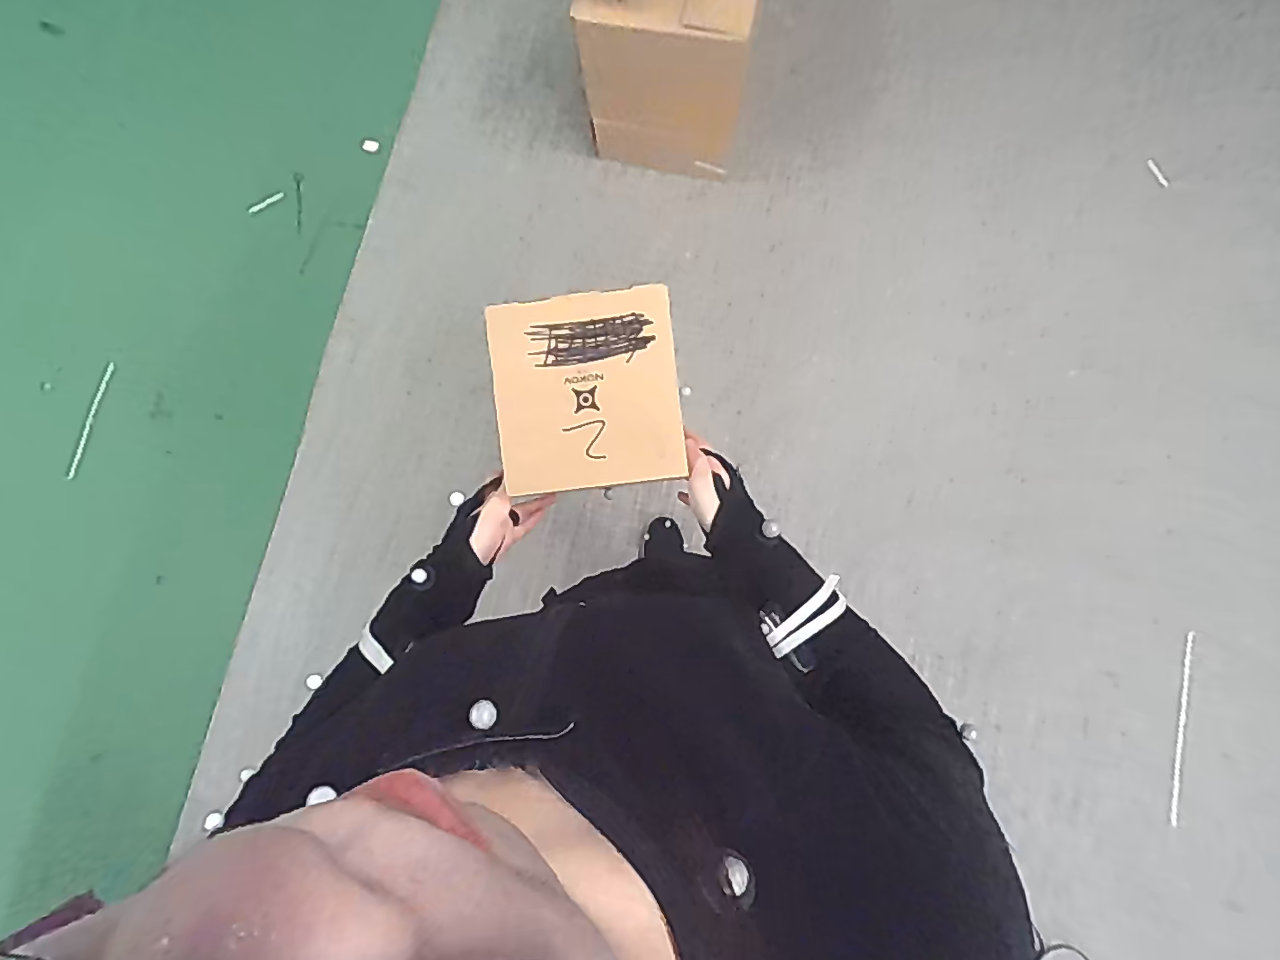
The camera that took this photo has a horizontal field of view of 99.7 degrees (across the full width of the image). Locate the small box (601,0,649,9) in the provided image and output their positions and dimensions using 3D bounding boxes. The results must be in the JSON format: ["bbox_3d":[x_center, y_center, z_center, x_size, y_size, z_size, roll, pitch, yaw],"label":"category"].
[{"bbox_3d":[-0.045,-1.166,1.145,0.168,0.176,0.179,13,86,3],"label":"small box"}]
